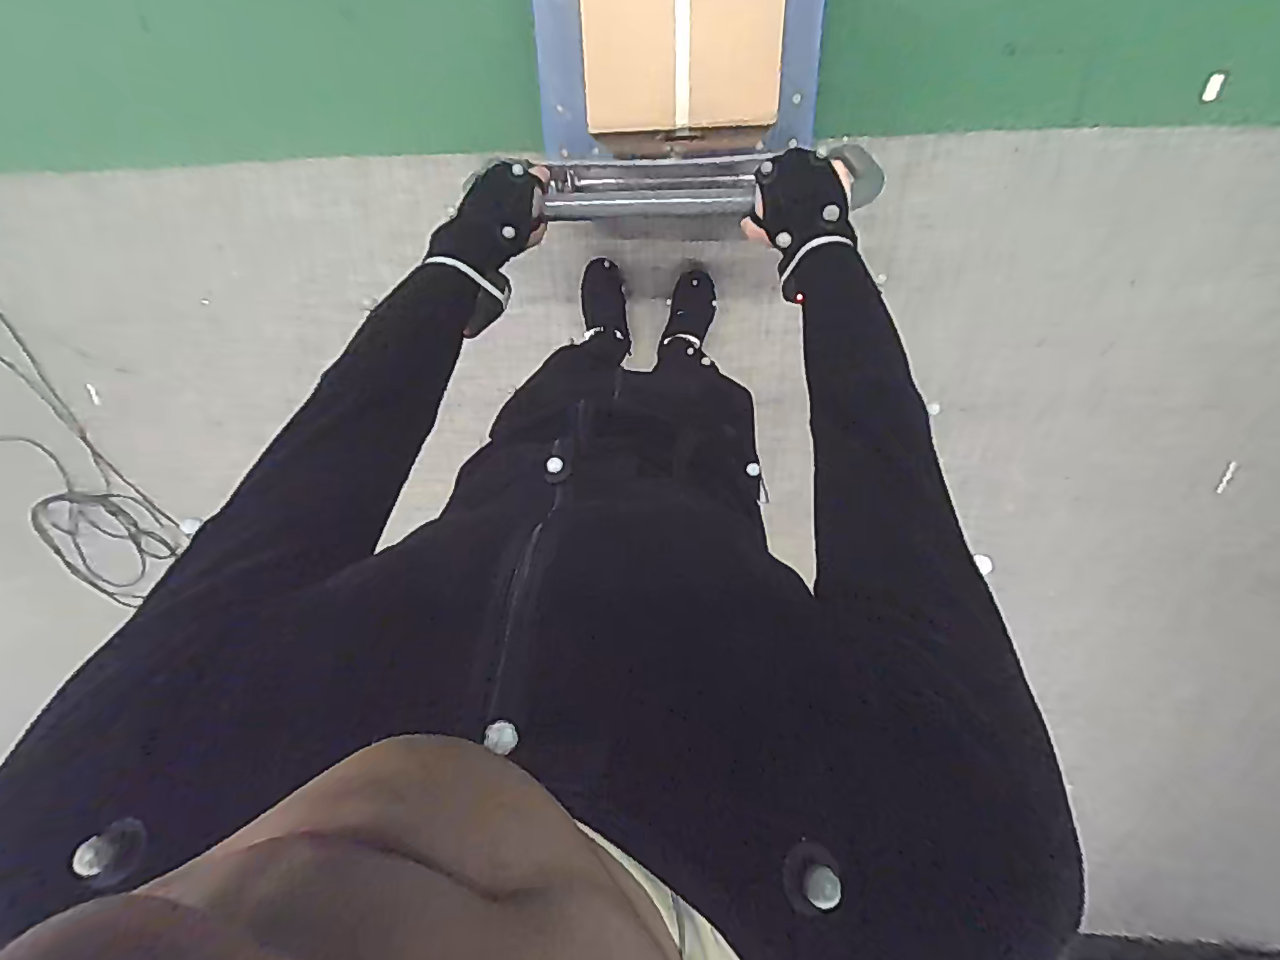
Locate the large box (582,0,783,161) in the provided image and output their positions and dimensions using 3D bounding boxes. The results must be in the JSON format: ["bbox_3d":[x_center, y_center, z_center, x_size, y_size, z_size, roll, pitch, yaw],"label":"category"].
[{"bbox_3d":[0.077,-0.821,0.959,0.320,0.320,0.408,1,115,5],"label":"large box"}]
